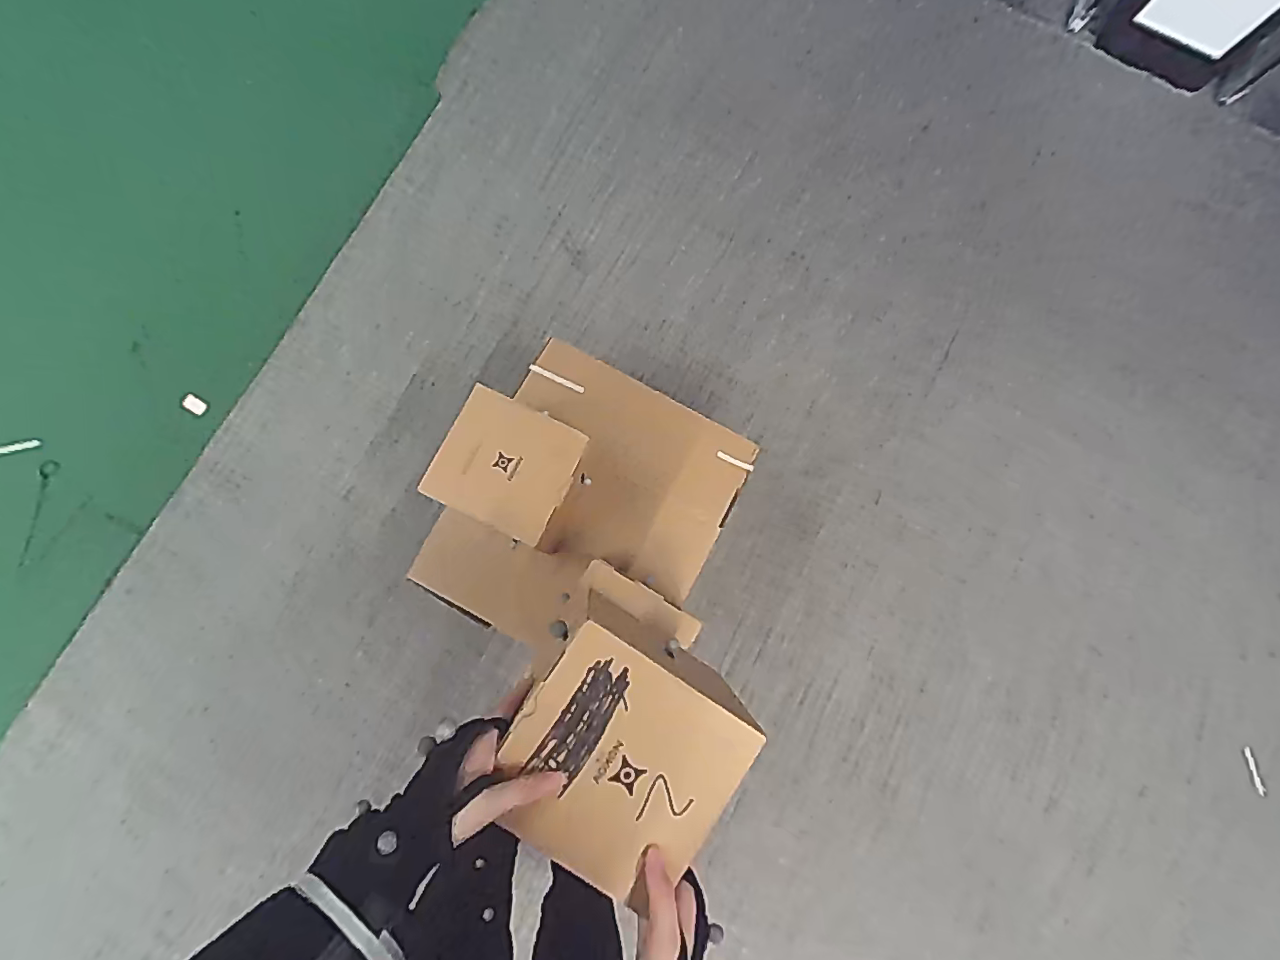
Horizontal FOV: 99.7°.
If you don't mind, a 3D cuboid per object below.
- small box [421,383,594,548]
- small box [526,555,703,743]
[{"bbox_3d":[-0.176,-0.010,0.788,0.179,0.176,0.168,26,79,2],"label":"small box"},{"bbox_3d":[-0.037,0.221,0.756,0.168,0.176,0.179,32,81,1],"label":"small box"}]
